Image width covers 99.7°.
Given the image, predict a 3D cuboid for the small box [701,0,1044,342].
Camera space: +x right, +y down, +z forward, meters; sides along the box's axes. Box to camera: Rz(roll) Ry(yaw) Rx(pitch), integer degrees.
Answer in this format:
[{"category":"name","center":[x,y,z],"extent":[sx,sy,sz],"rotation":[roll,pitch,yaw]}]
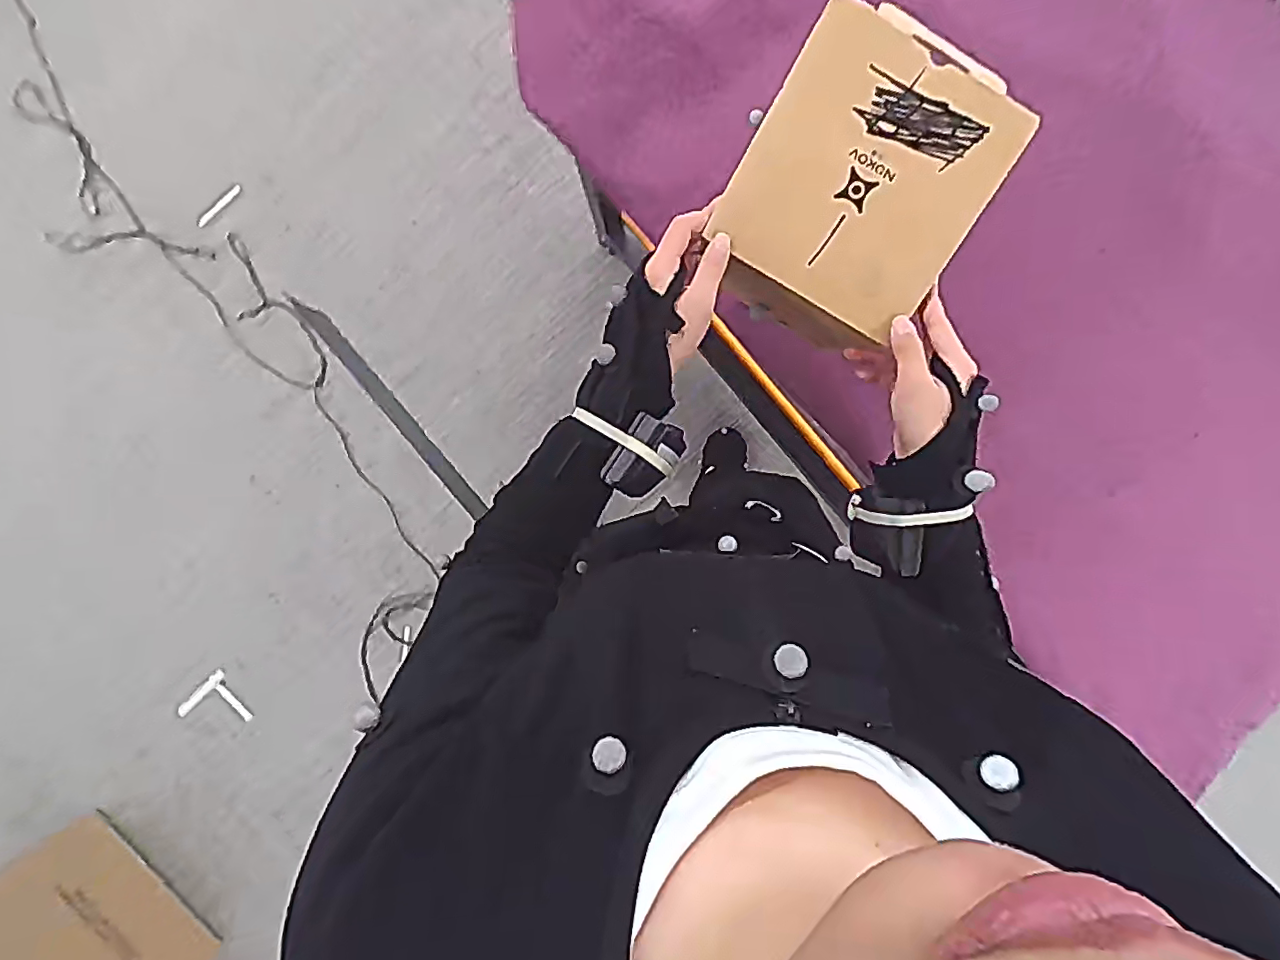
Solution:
[{"category":"small box","center":[0.160,-0.231,0.446],"extent":[0.168,0.176,0.179],"rotation":[29,103,-3]}]
